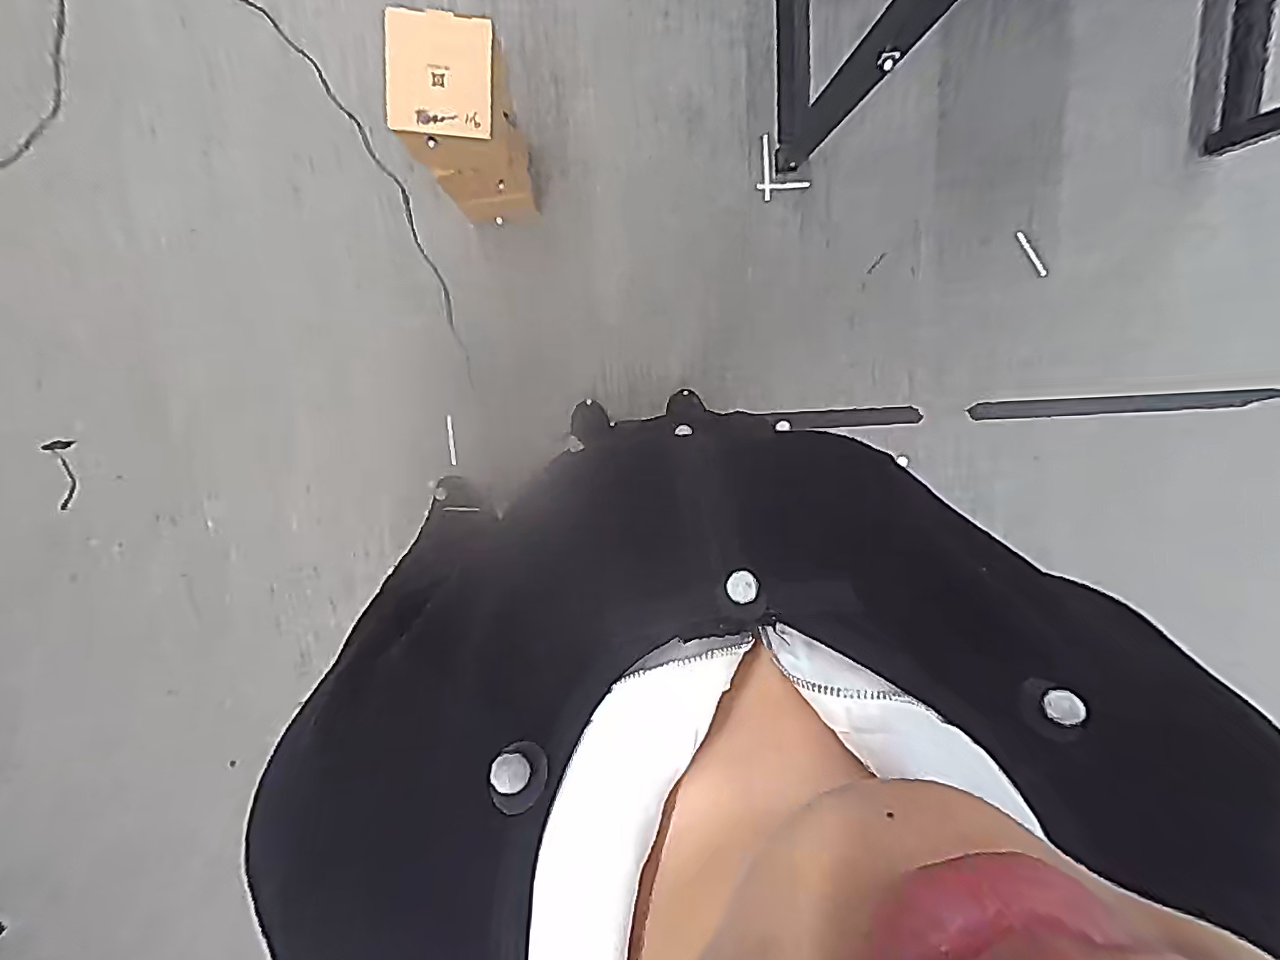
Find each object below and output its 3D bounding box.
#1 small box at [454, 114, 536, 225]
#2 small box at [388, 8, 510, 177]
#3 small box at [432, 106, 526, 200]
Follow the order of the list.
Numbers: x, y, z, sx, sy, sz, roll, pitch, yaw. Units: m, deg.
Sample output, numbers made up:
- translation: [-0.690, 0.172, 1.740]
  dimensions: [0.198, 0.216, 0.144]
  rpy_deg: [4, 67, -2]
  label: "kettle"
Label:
- translation: [-0.344, -0.717, 1.264]
  dimensions: [0.168, 0.176, 0.179]
  rpy_deg: [-8, 102, -2]
  label: "small box"
- translation: [-0.325, -0.661, 0.943]
  dimensions: [0.168, 0.176, 0.179]
  rpy_deg: [3, 100, -4]
  label: "small box"
- translation: [-0.338, -0.692, 1.104]
  dimensions: [0.168, 0.176, 0.179]
  rpy_deg: [-11, 100, -2]
  label: "small box"
